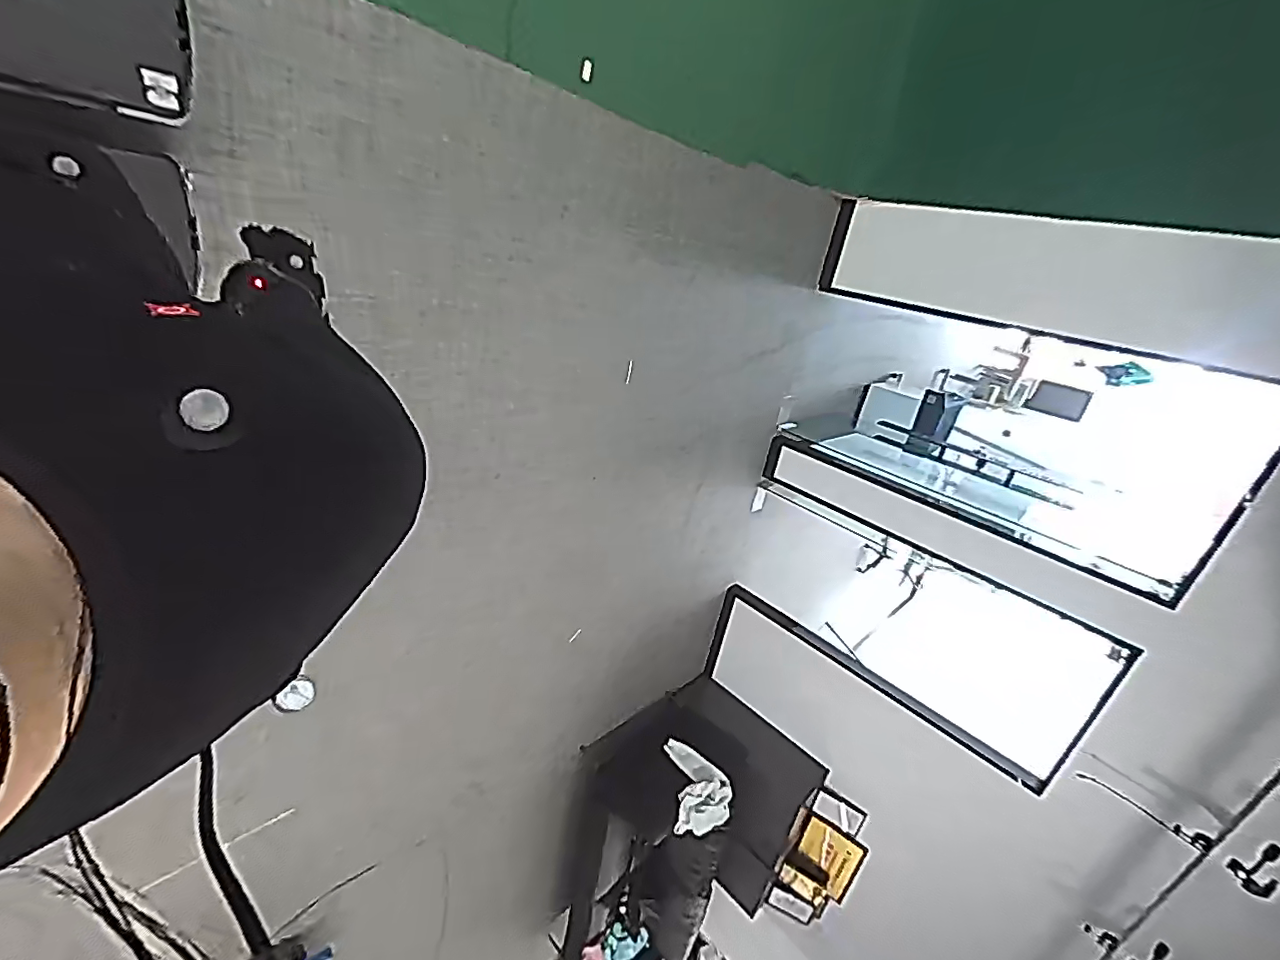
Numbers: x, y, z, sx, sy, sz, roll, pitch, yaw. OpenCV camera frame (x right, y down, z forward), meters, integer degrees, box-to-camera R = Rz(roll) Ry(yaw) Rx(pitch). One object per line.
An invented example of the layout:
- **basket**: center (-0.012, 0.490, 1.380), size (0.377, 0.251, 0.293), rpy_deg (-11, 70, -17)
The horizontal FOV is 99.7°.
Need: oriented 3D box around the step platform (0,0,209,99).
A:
- **step platform**: center (-0.932, -0.693, 0.605), size (0.684, 0.204, 0.286), rpy_deg (-13, 124, -44)
